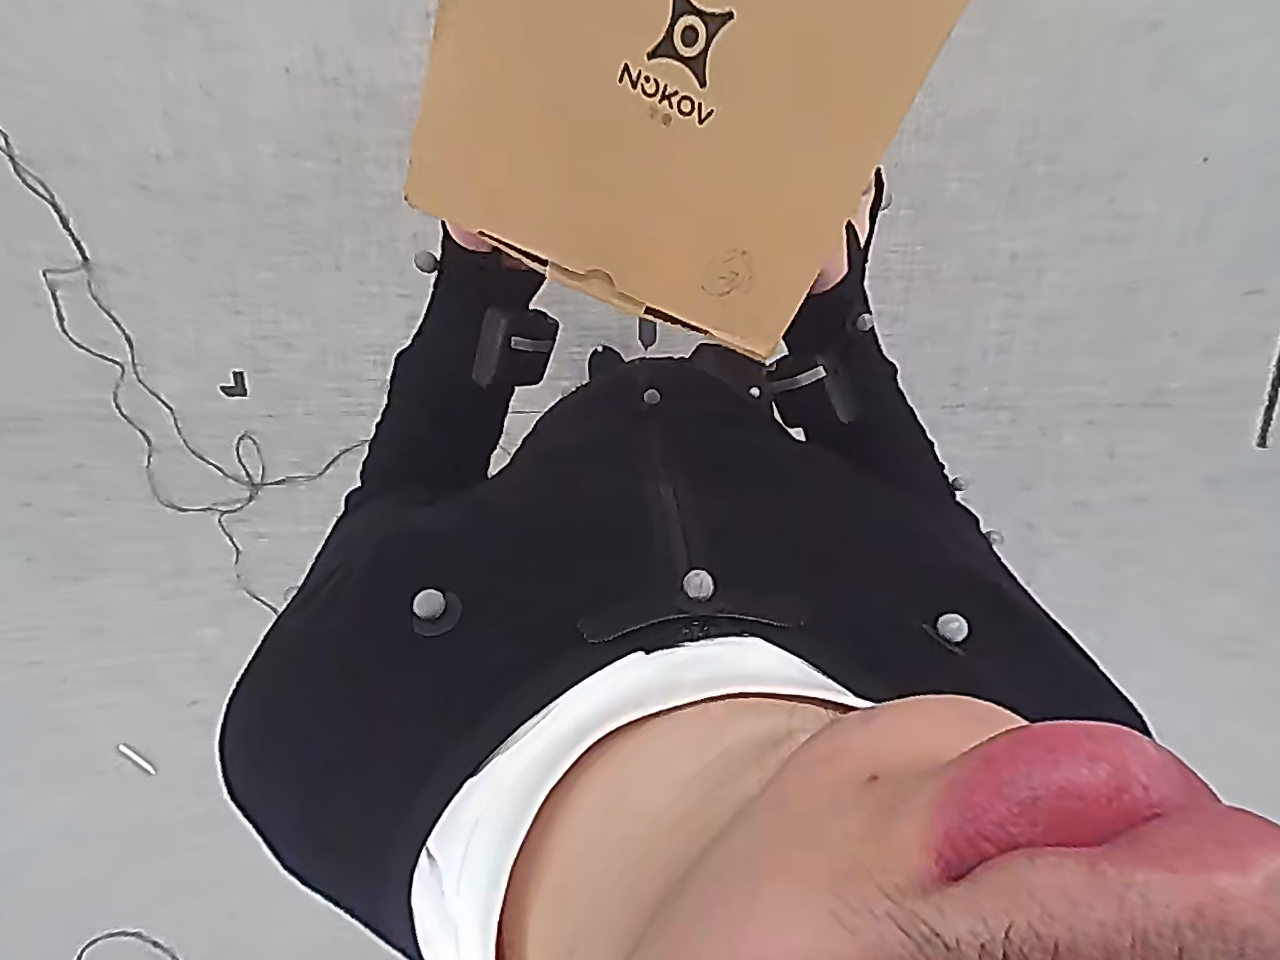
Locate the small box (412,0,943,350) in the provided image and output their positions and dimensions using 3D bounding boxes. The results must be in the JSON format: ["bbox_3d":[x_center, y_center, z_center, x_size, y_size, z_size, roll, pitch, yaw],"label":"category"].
[{"bbox_3d":[0.013,-0.195,0.270,0.168,0.176,0.179,20,116,-10],"label":"small box"}]
